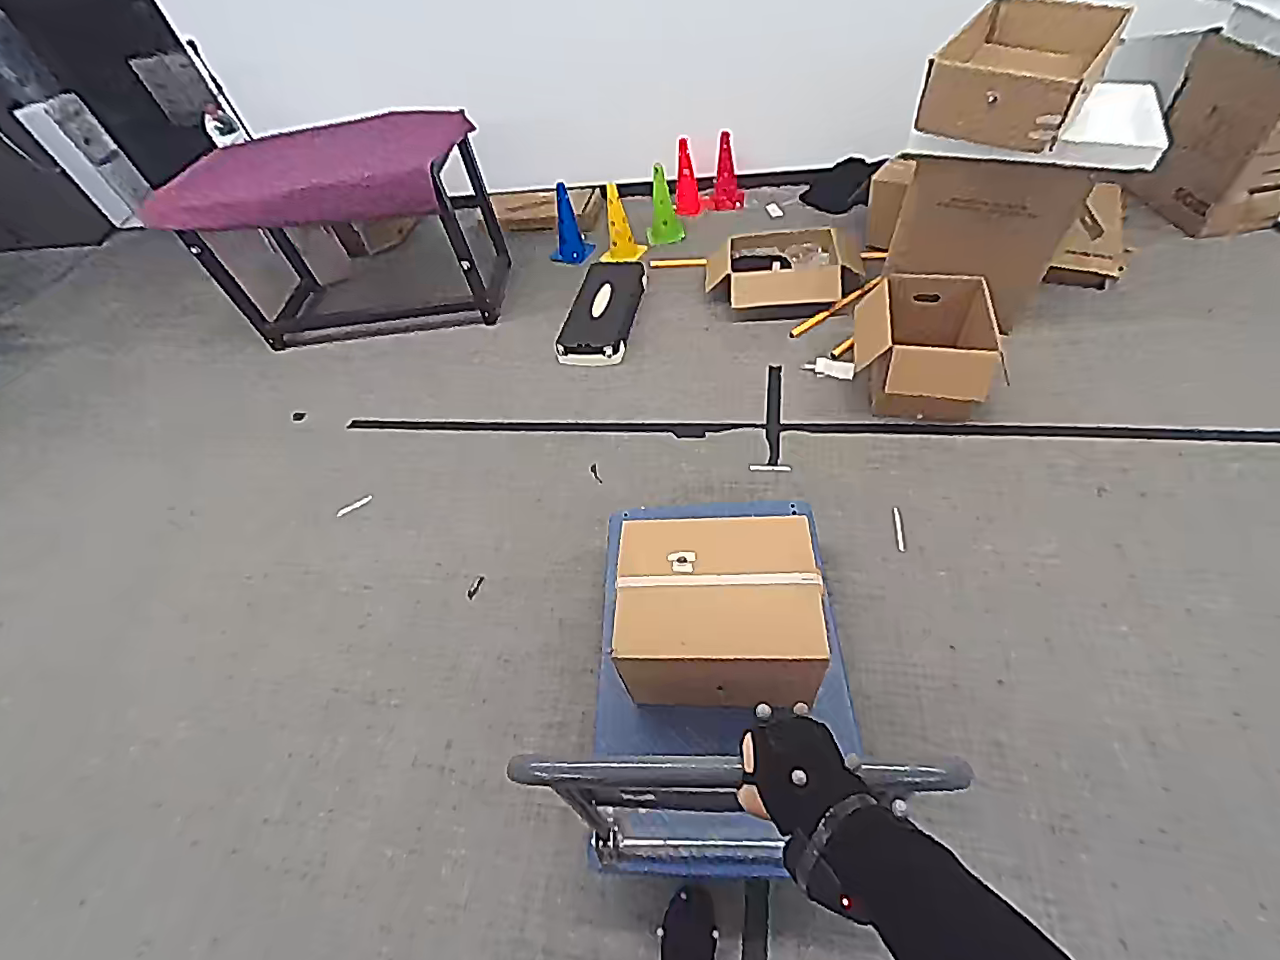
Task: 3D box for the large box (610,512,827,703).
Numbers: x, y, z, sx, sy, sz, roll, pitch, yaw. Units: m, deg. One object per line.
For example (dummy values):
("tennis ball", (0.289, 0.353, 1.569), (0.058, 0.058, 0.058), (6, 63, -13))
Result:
("large box", (0.168, 0.293, 1.196), (0.408, 0.320, 0.320), (-4, 51, 9))
